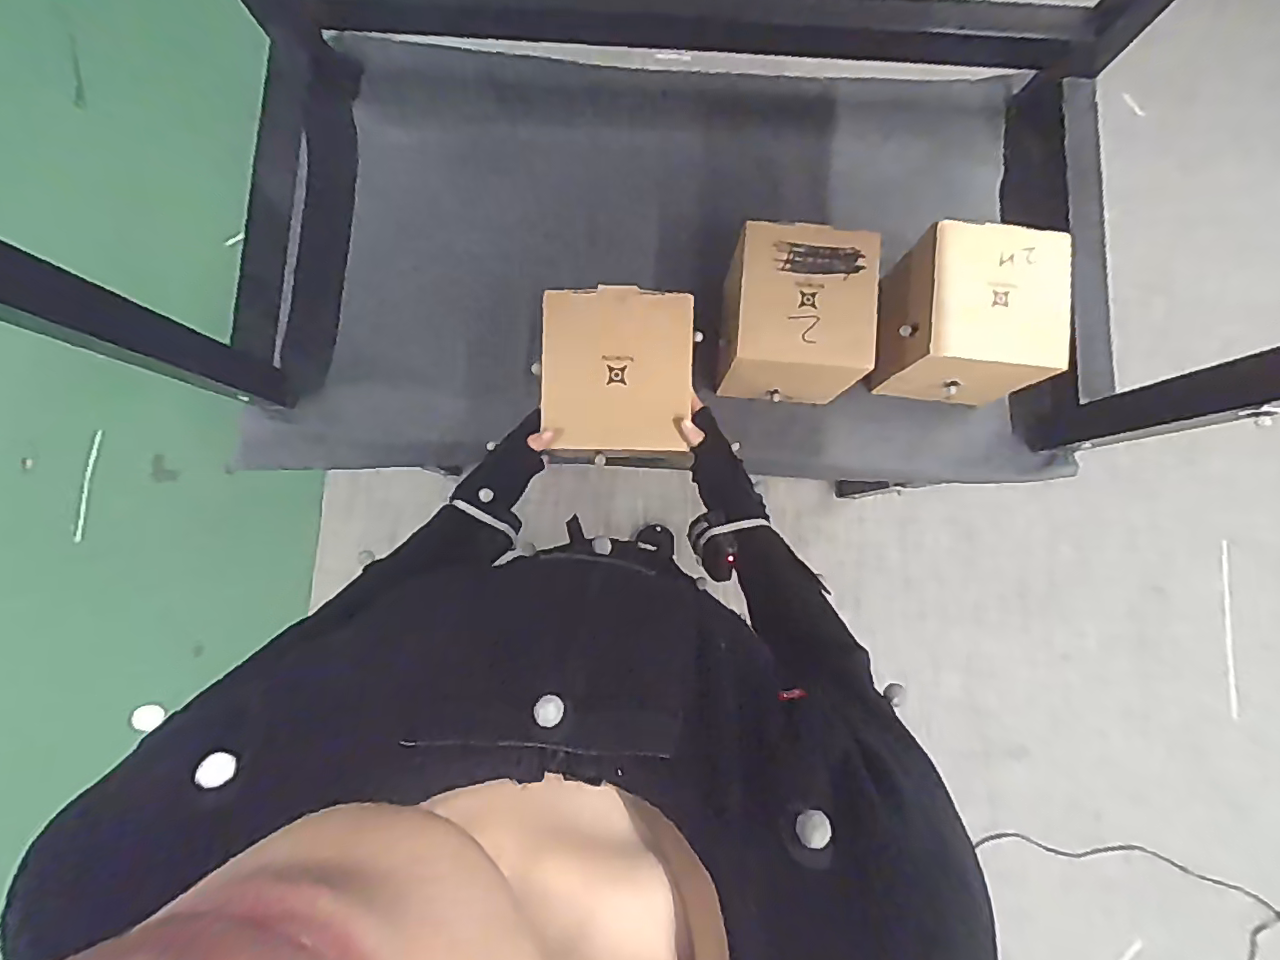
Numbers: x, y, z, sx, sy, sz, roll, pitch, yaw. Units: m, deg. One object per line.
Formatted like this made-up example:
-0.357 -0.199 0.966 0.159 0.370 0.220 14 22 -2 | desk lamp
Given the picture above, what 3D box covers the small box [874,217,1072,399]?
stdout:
0.432 -0.217 0.728 0.168 0.176 0.179 7 83 0 | small box
